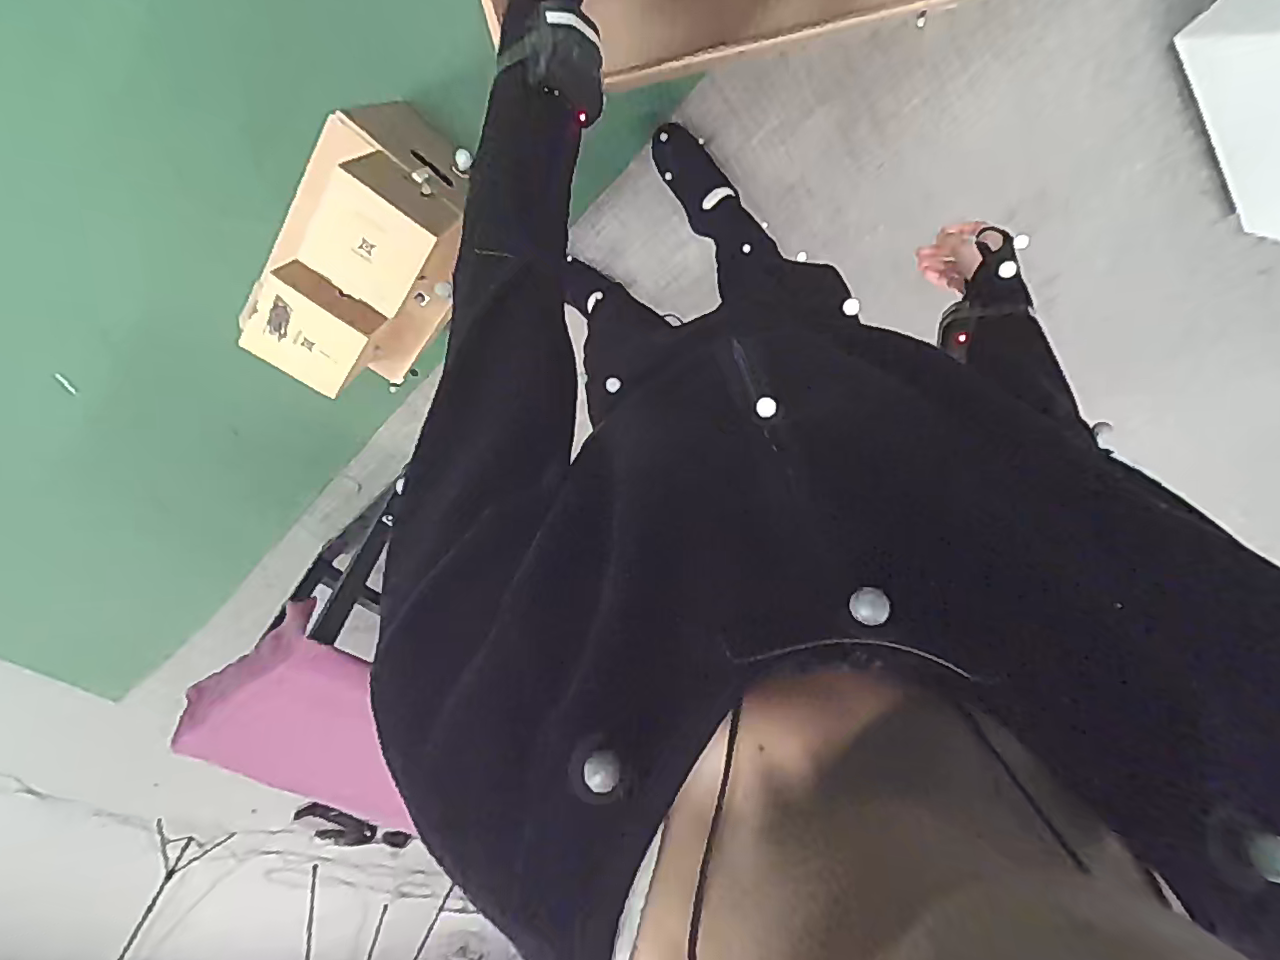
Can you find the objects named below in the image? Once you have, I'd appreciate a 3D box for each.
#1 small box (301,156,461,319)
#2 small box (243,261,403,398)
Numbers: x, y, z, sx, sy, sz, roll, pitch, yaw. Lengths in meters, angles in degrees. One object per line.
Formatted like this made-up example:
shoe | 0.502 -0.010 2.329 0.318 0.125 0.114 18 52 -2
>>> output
small box | -0.431 -0.417 0.926 0.168 0.176 0.179 33 120 -23
small box | -0.586 -0.295 1.019 0.179 0.176 0.168 35 120 -22
